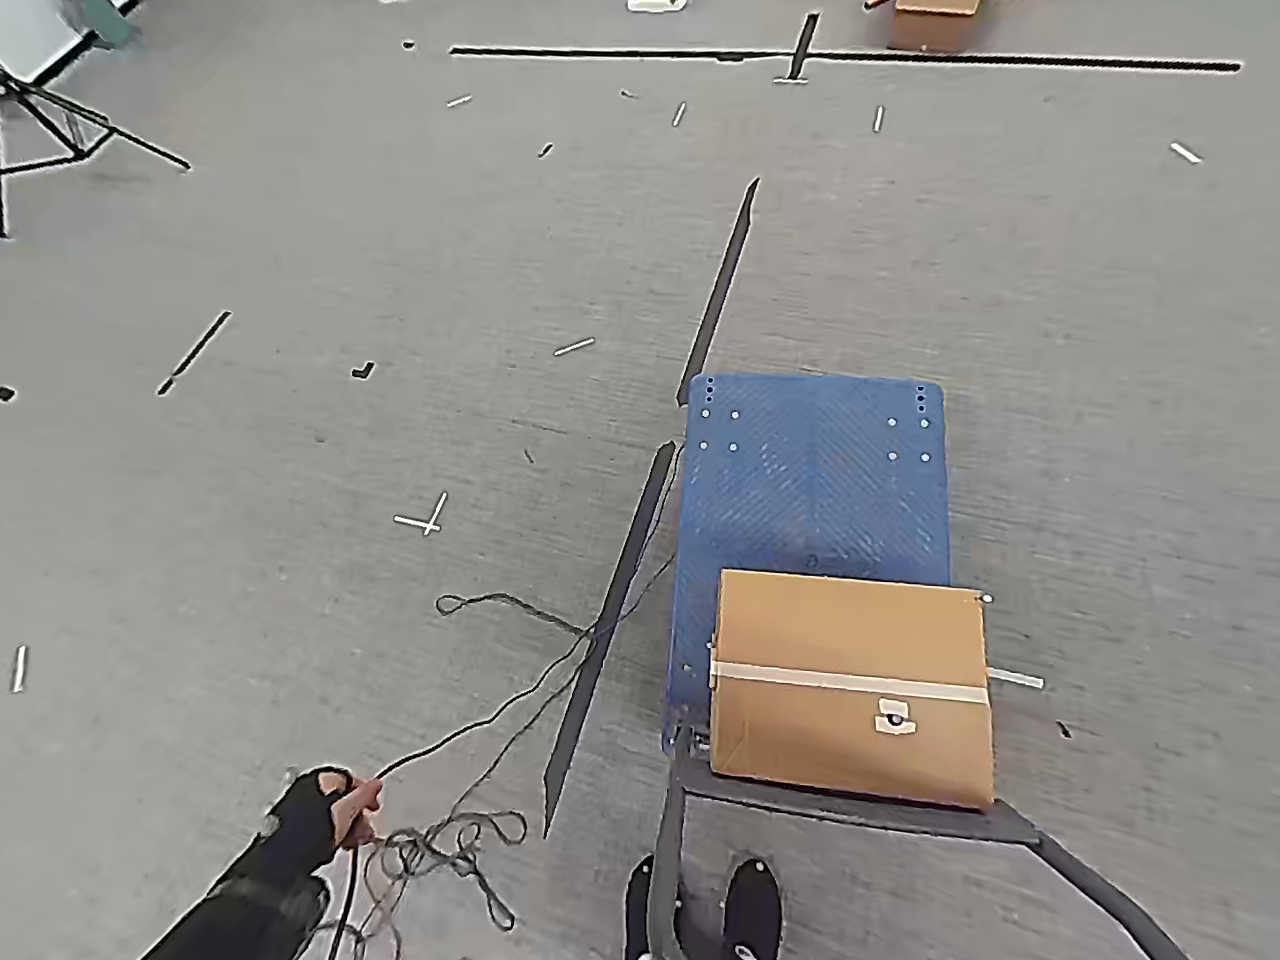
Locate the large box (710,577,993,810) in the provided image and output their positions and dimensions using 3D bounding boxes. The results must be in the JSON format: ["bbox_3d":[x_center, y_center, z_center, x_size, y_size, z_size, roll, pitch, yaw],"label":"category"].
[{"bbox_3d":[0.333,0.354,0.973,0.408,0.320,0.320,3,77,7],"label":"large box"}]
